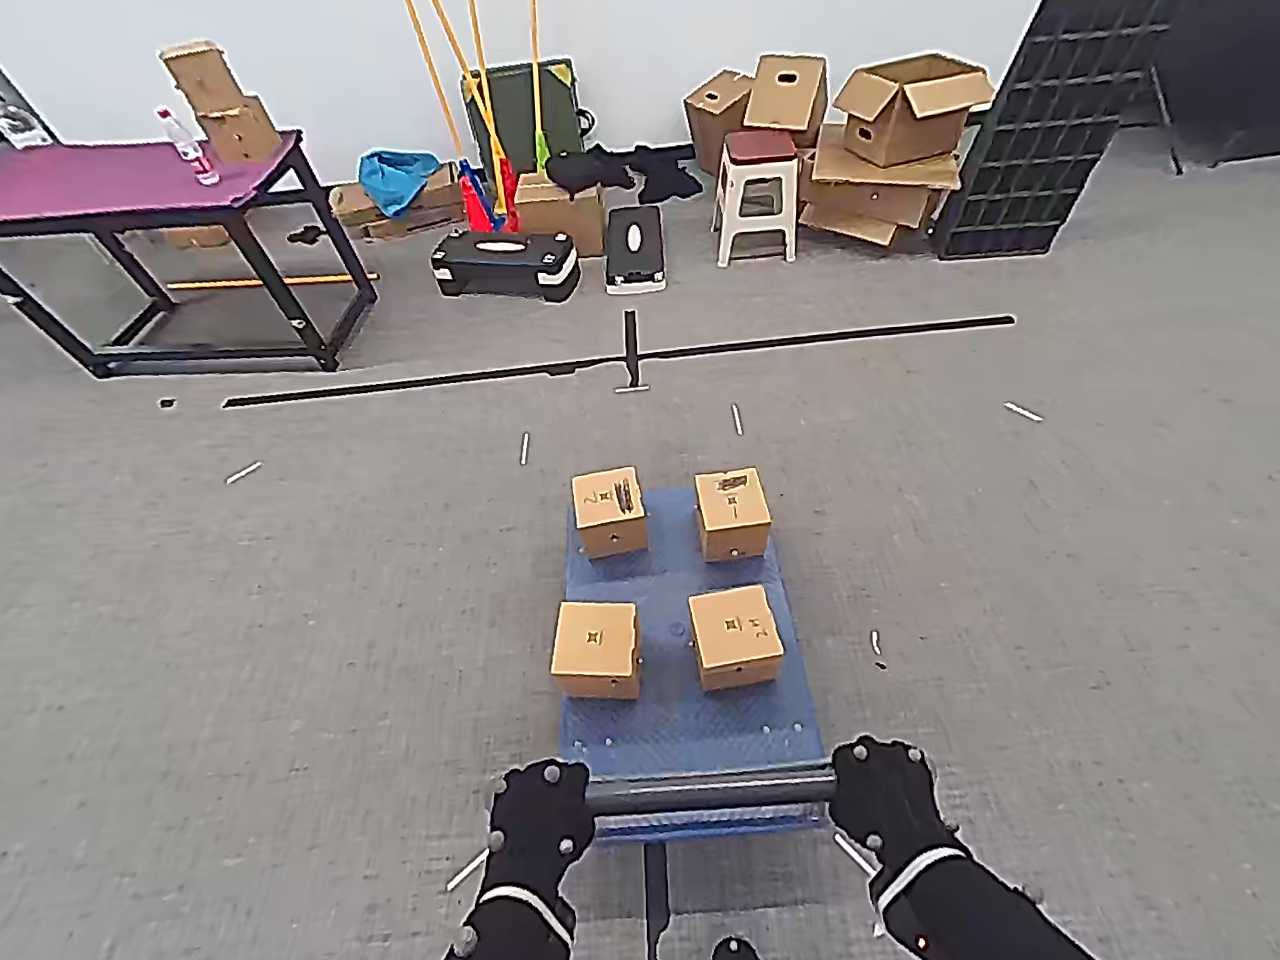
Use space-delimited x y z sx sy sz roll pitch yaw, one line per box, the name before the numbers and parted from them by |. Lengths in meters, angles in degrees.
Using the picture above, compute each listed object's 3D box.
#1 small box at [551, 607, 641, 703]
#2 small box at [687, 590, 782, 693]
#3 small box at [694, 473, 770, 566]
small box | -0.094 0.407 1.251 0.179 0.176 0.168 0 52 4
small box | 0.211 0.376 1.243 0.179 0.176 0.168 -10 53 -1
small box | 0.239 0.107 1.446 0.168 0.176 0.179 -8 53 0
